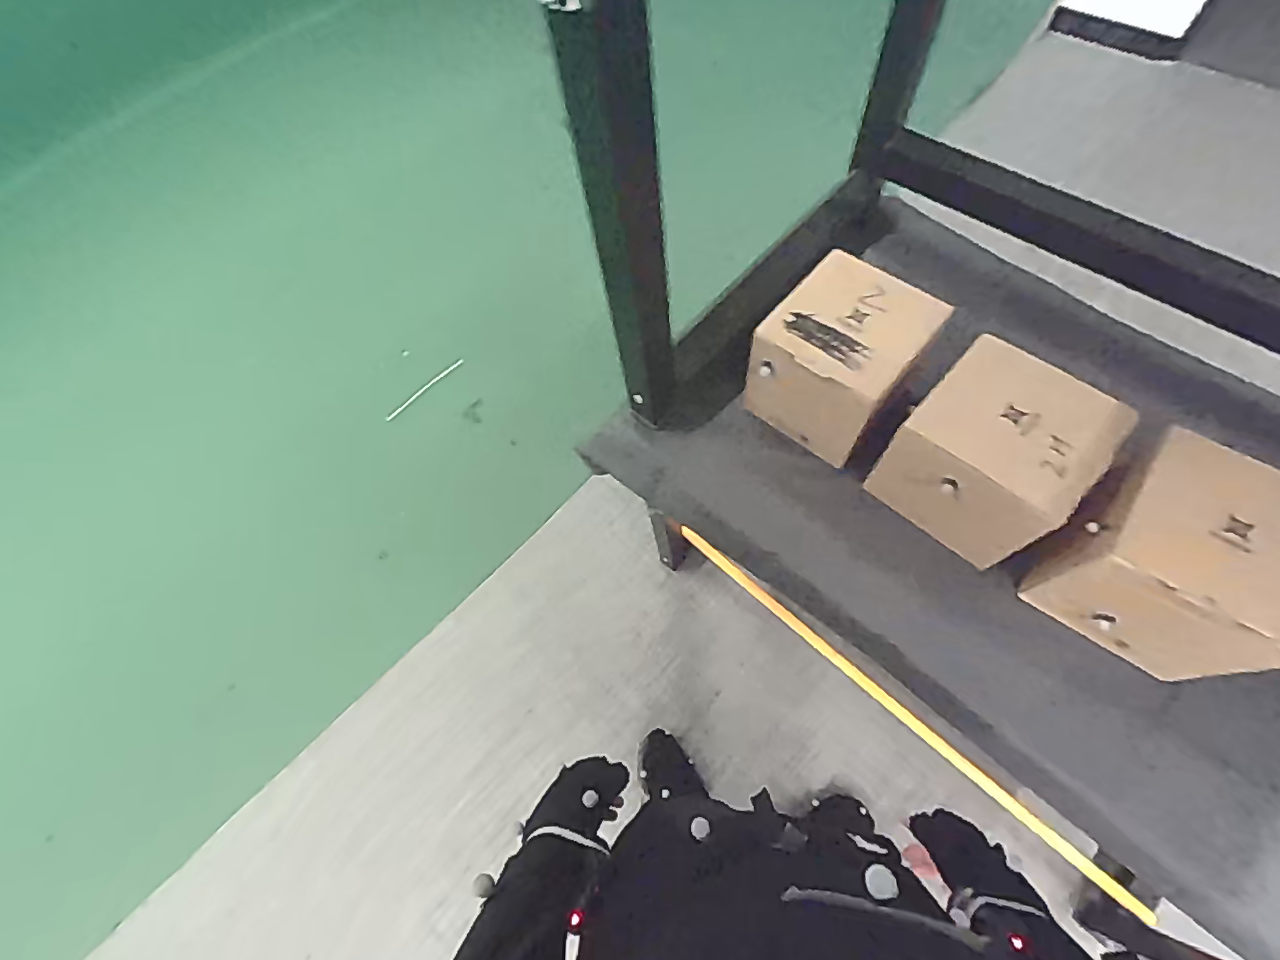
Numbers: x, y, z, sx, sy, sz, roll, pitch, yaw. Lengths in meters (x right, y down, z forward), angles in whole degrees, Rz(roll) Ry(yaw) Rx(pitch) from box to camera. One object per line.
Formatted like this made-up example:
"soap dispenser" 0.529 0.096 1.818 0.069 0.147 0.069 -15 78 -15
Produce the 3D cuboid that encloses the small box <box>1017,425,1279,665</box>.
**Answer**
"small box" 0.564 0.078 0.594 0.168 0.176 0.179 34 73 19
